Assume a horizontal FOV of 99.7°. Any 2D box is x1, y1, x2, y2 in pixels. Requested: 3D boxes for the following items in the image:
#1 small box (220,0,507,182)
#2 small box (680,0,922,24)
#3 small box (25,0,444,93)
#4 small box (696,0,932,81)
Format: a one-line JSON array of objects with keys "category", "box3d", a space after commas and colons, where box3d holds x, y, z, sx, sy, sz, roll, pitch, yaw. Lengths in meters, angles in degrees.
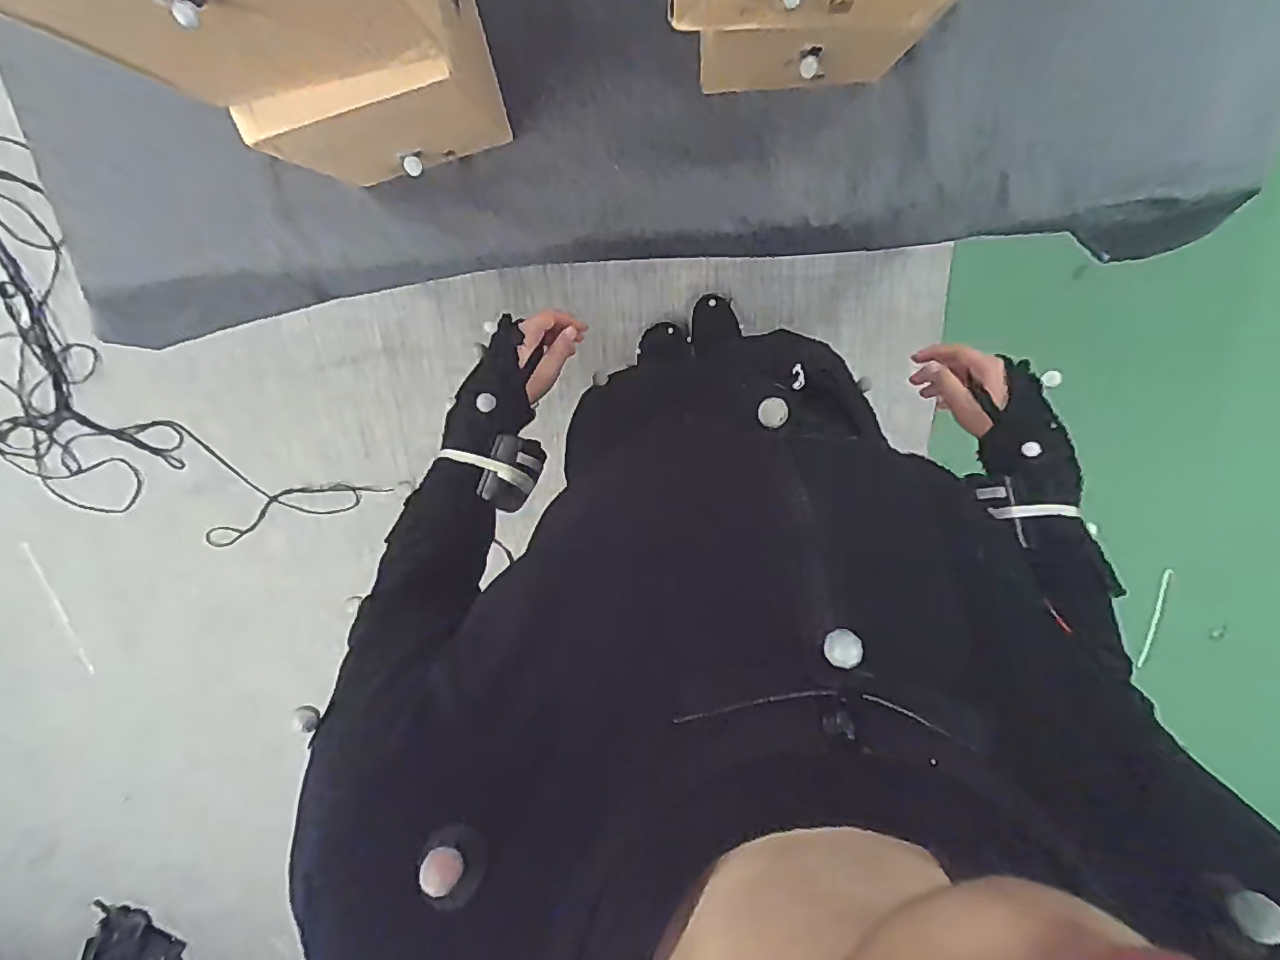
[{"category": "small box", "box3d": [-0.226, -0.367, 0.432, 0.168, 0.176, 0.179, -13, 109, 7]}, {"category": "small box", "box3d": [0.098, -0.357, 0.251, 0.168, 0.176, 0.179, 0, 109, 2]}, {"category": "small box", "box3d": [-0.230, -0.329, 0.273, 0.179, 0.176, 0.168, -9, 110, 4]}, {"category": "small box", "box3d": [0.127, -0.423, 0.400, 0.168, 0.176, 0.179, -3, 109, 3]}]
